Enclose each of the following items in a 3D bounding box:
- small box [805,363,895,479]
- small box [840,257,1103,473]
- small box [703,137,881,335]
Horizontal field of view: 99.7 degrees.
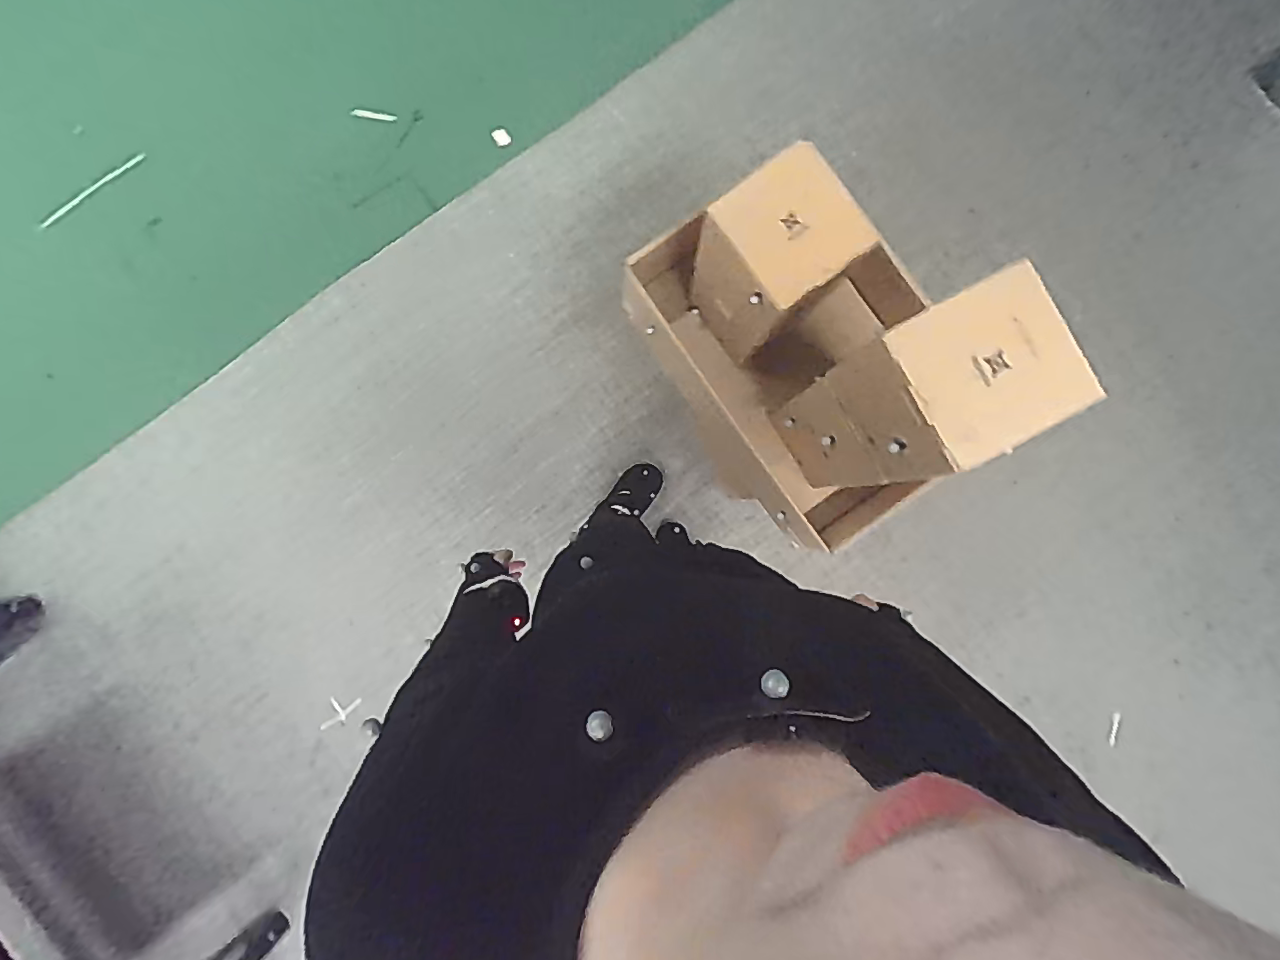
[{"bbox_3d":[0.362,-0.109,0.793,0.179,0.176,0.168,-29,88,1],"label":"small box"},{"bbox_3d":[0.358,-0.116,0.629,0.179,0.176,0.168,-27,88,-1],"label":"small box"},{"bbox_3d":[0.210,-0.347,0.806,0.168,0.176,0.179,-36,89,0],"label":"small box"}]
